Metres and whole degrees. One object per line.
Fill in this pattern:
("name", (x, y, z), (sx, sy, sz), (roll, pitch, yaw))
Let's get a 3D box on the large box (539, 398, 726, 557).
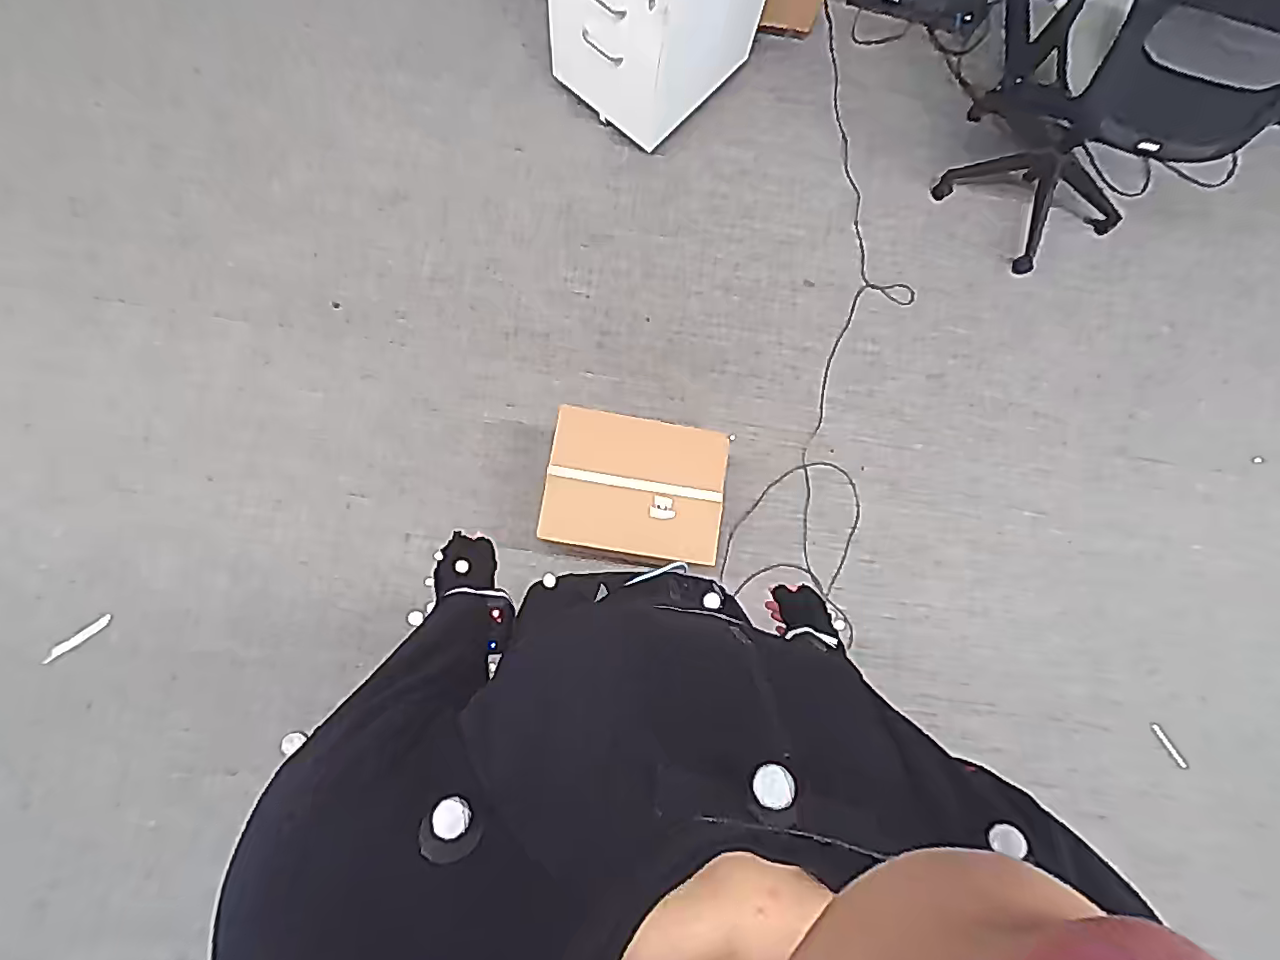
("large box", (-0.029, 0.014, 1.382), (0.408, 0.320, 0.320), (10, 80, -5))
